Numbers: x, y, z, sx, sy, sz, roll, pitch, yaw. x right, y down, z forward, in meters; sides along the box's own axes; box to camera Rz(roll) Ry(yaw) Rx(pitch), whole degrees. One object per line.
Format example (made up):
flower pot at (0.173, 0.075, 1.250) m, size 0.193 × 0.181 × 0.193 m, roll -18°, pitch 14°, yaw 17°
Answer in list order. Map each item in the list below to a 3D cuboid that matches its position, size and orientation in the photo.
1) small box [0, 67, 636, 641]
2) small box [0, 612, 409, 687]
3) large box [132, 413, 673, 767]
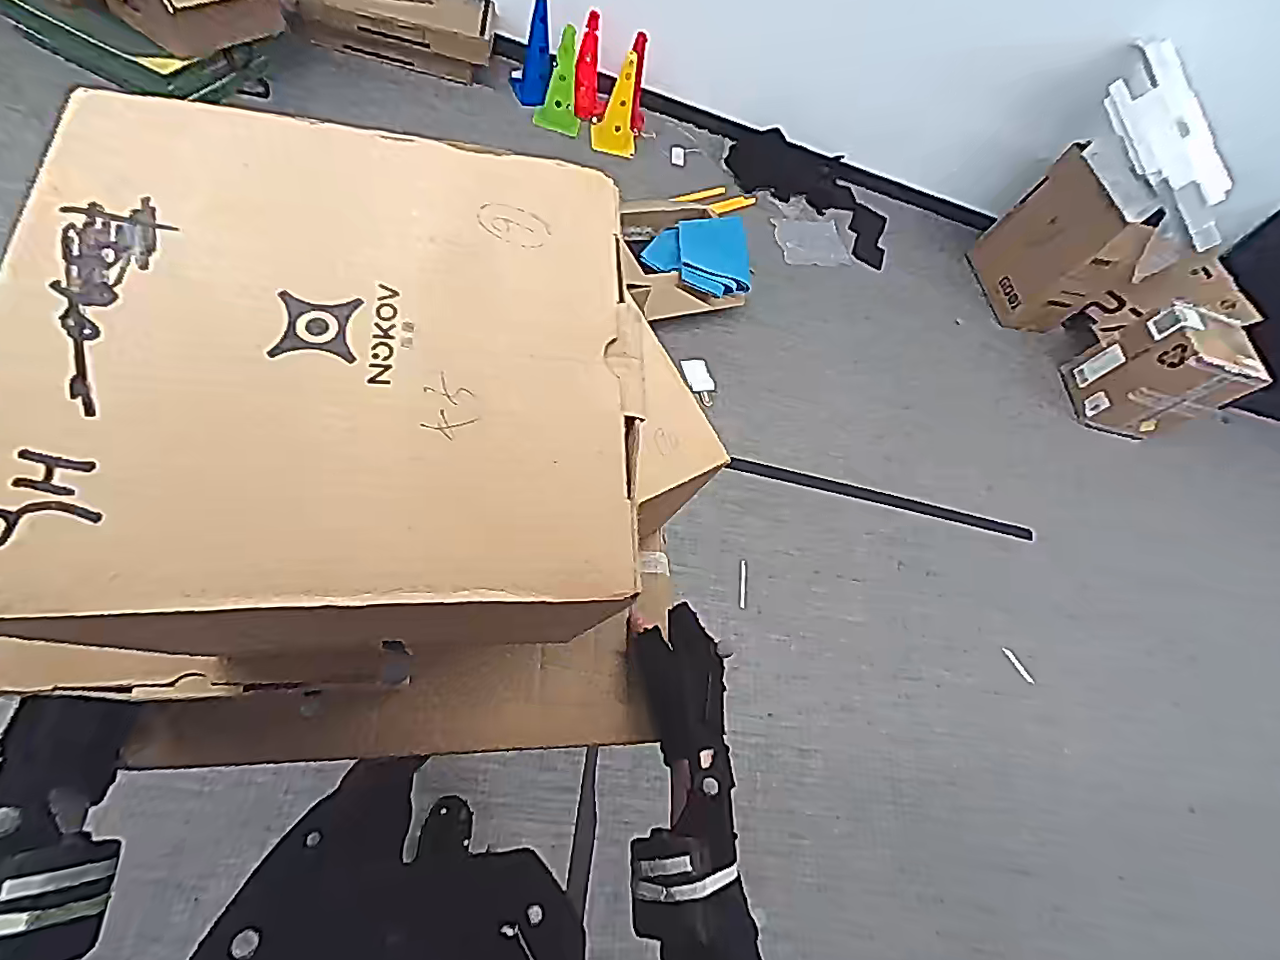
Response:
small box at (-0.109, -0.022, 0.237) m, size 0.179 × 0.176 × 0.168 m, roll 2°, pitch 69°, yaw -15°
small box at (-0.240, 0.041, 0.357) m, size 0.168 × 0.176 × 0.179 m, roll 4°, pitch 67°, yaw -17°
large box at (-0.210, 0.114, 0.608) m, size 0.408 × 0.320 × 0.320 m, roll 4°, pitch 69°, yaw -16°
